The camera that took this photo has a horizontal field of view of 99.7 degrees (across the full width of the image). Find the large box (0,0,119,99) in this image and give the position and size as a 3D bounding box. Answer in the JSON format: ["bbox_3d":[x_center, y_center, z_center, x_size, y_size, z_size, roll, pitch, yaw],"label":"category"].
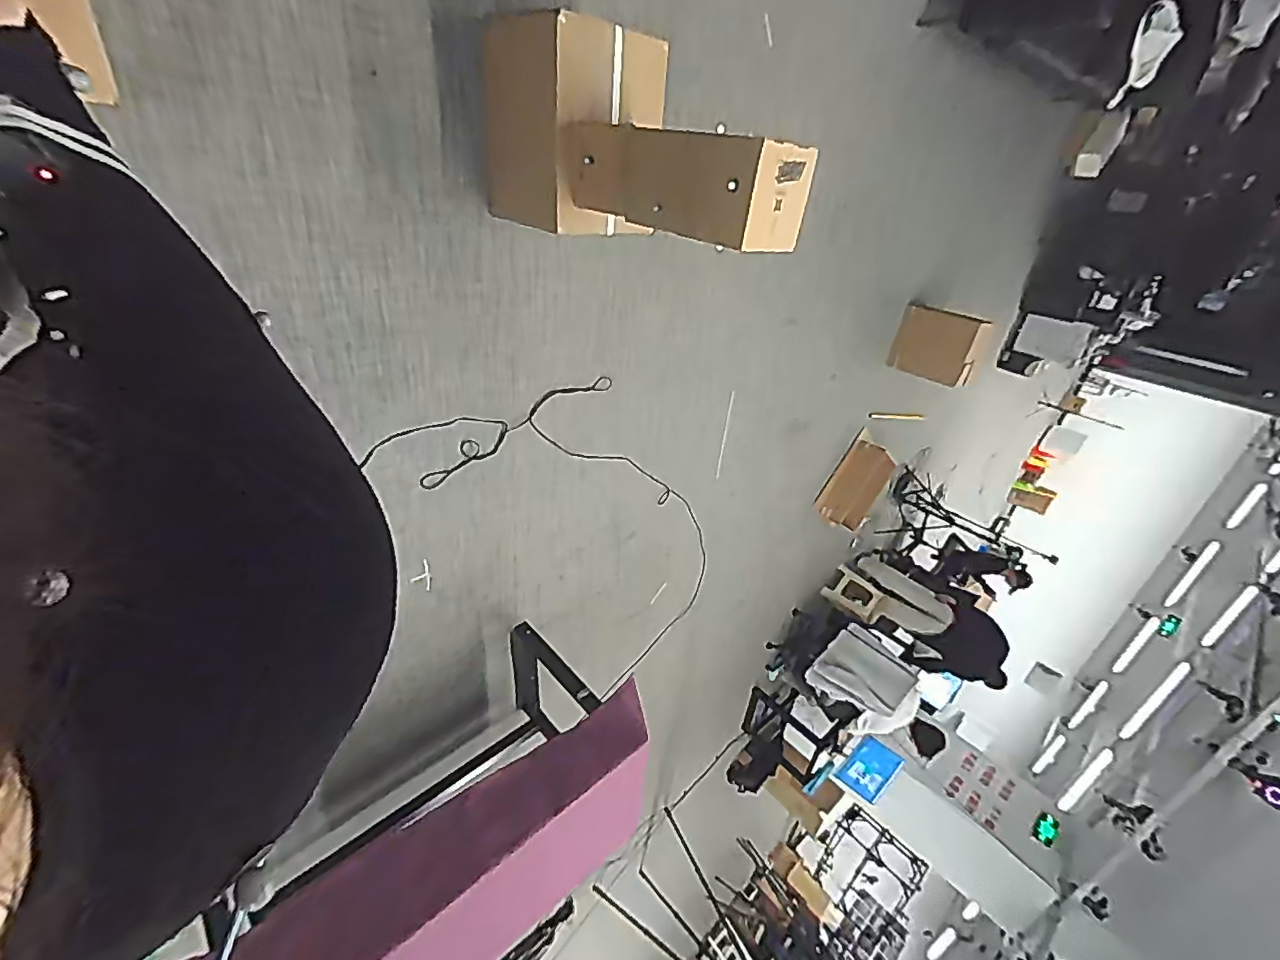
[{"bbox_3d":[-0.901,-0.704,0.633,0.320,0.320,0.408,-22,130,-37],"label":"large box"}]

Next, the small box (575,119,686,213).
[{"bbox_3d":[-0.024,-0.700,1.207,0.179,0.176,0.168,-22,132,-35],"label":"small box"}]

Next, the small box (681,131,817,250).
[{"bbox_3d":[0.197,-0.544,1.019,0.168,0.176,0.179,-19,131,-38],"label":"small box"}]
